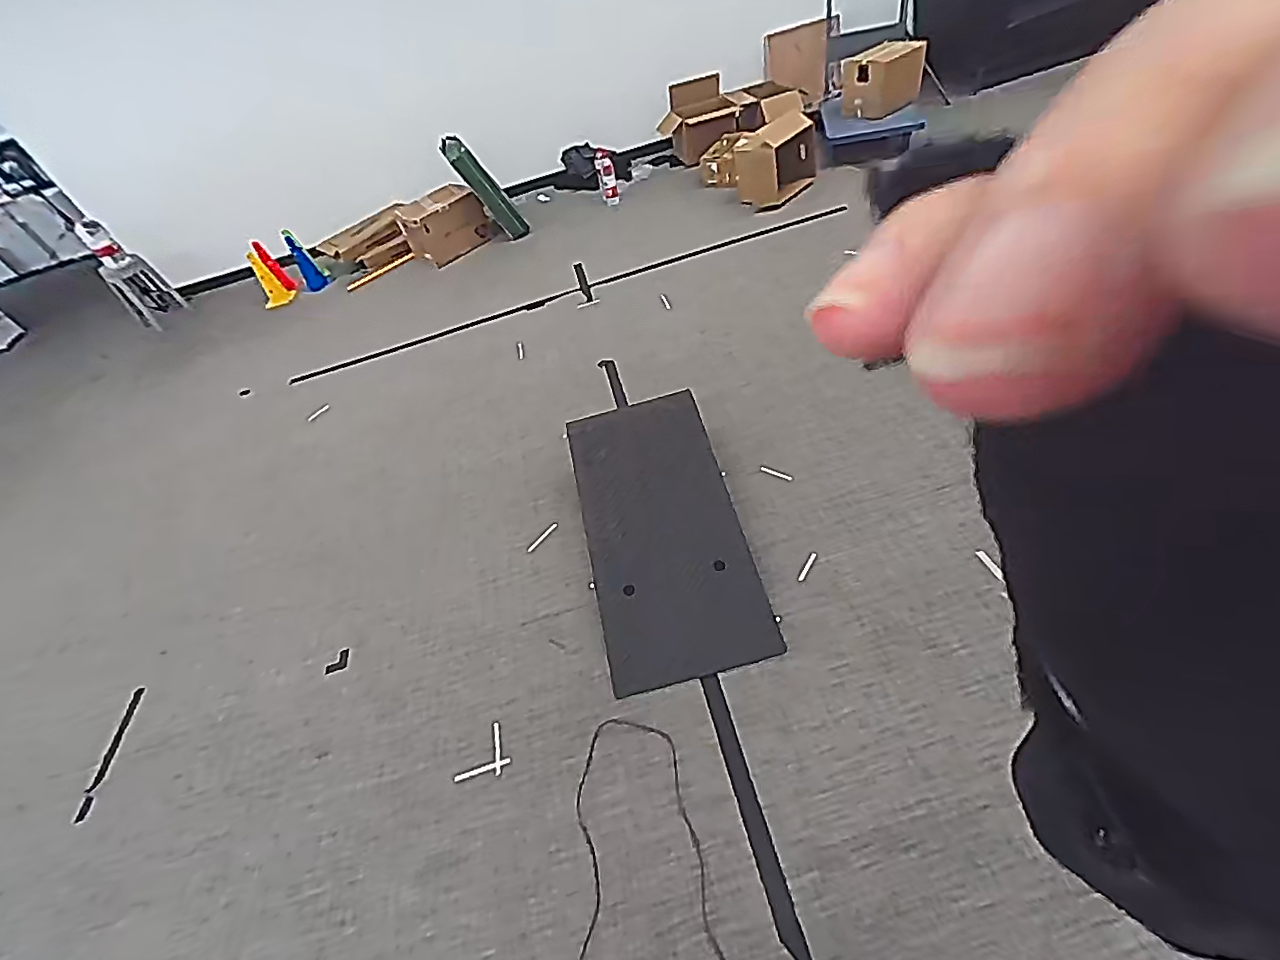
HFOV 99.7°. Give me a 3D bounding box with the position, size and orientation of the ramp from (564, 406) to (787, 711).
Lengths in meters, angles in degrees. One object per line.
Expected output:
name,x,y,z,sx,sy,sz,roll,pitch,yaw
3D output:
ramp,0.064,0.180,1.771,0.509,0.206,0.991,-18,45,-2
